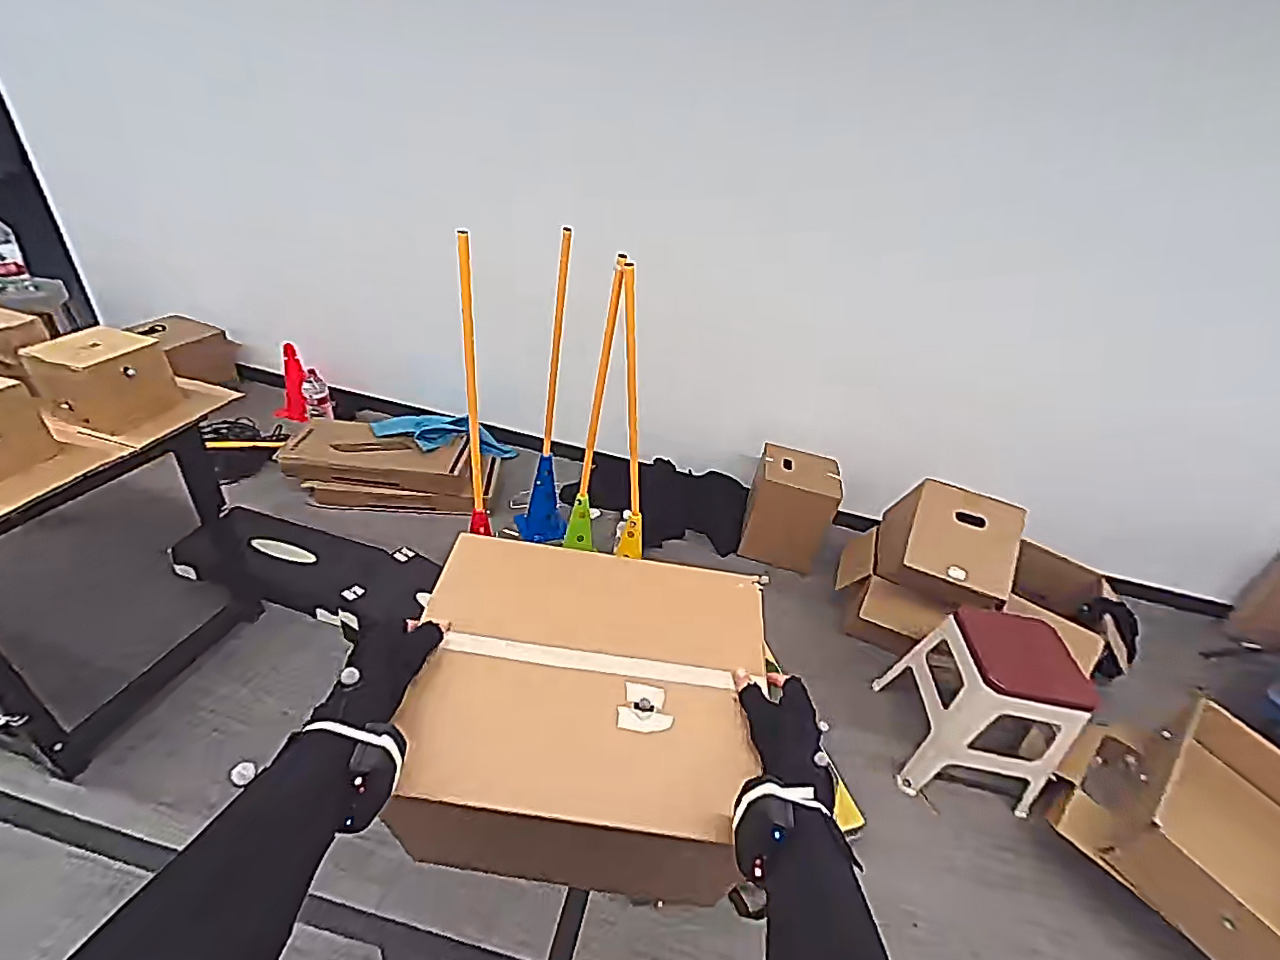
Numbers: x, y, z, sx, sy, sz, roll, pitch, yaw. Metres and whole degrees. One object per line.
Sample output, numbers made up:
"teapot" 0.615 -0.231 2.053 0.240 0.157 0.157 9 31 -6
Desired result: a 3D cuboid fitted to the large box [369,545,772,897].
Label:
"large box" -0.072 0.324 0.730 0.408 0.320 0.320 9 44 0
